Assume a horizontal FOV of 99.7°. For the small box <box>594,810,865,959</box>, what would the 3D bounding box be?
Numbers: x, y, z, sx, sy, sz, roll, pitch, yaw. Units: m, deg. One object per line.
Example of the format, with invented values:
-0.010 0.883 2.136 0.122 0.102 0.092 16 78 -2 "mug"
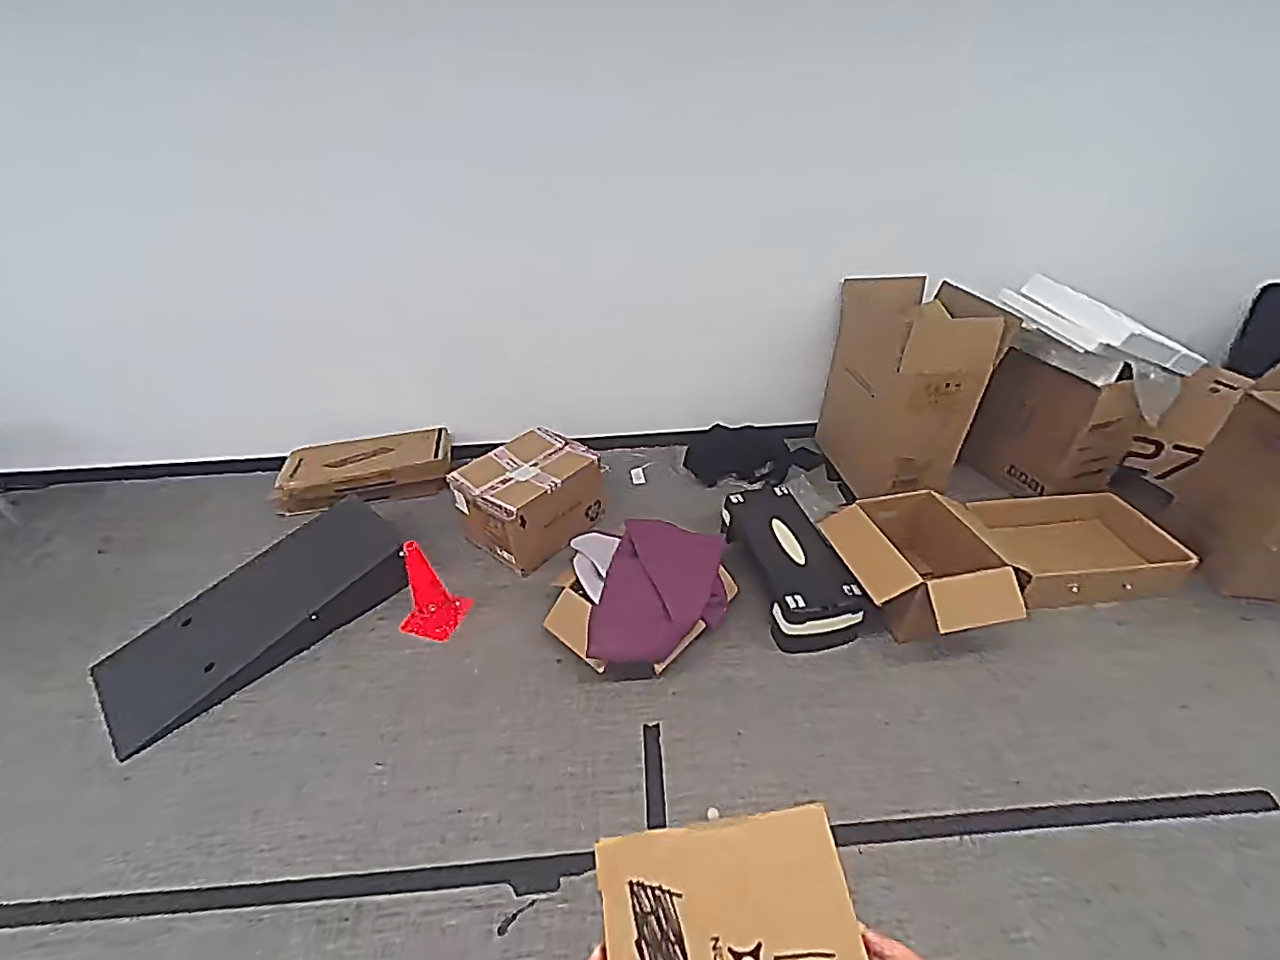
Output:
0.066 0.371 0.417 0.179 0.176 0.168 -8 53 -2 "small box"
